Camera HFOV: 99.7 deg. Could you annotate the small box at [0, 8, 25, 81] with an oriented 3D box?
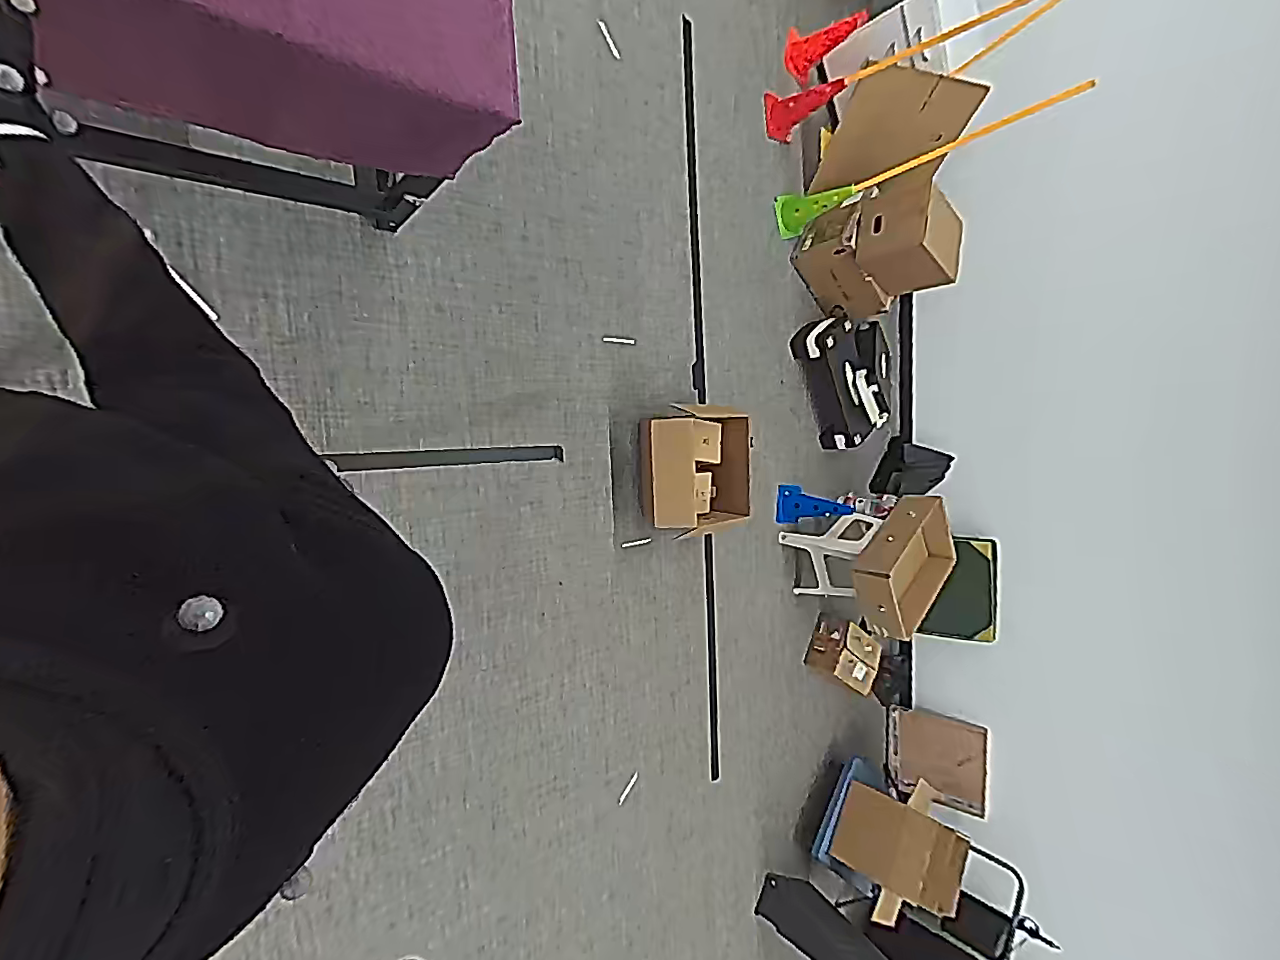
[{"bbox_3d":[-0.609,-0.422,0.375,0.168,0.176,0.179,-24,103,-28],"label":"small box"}]
